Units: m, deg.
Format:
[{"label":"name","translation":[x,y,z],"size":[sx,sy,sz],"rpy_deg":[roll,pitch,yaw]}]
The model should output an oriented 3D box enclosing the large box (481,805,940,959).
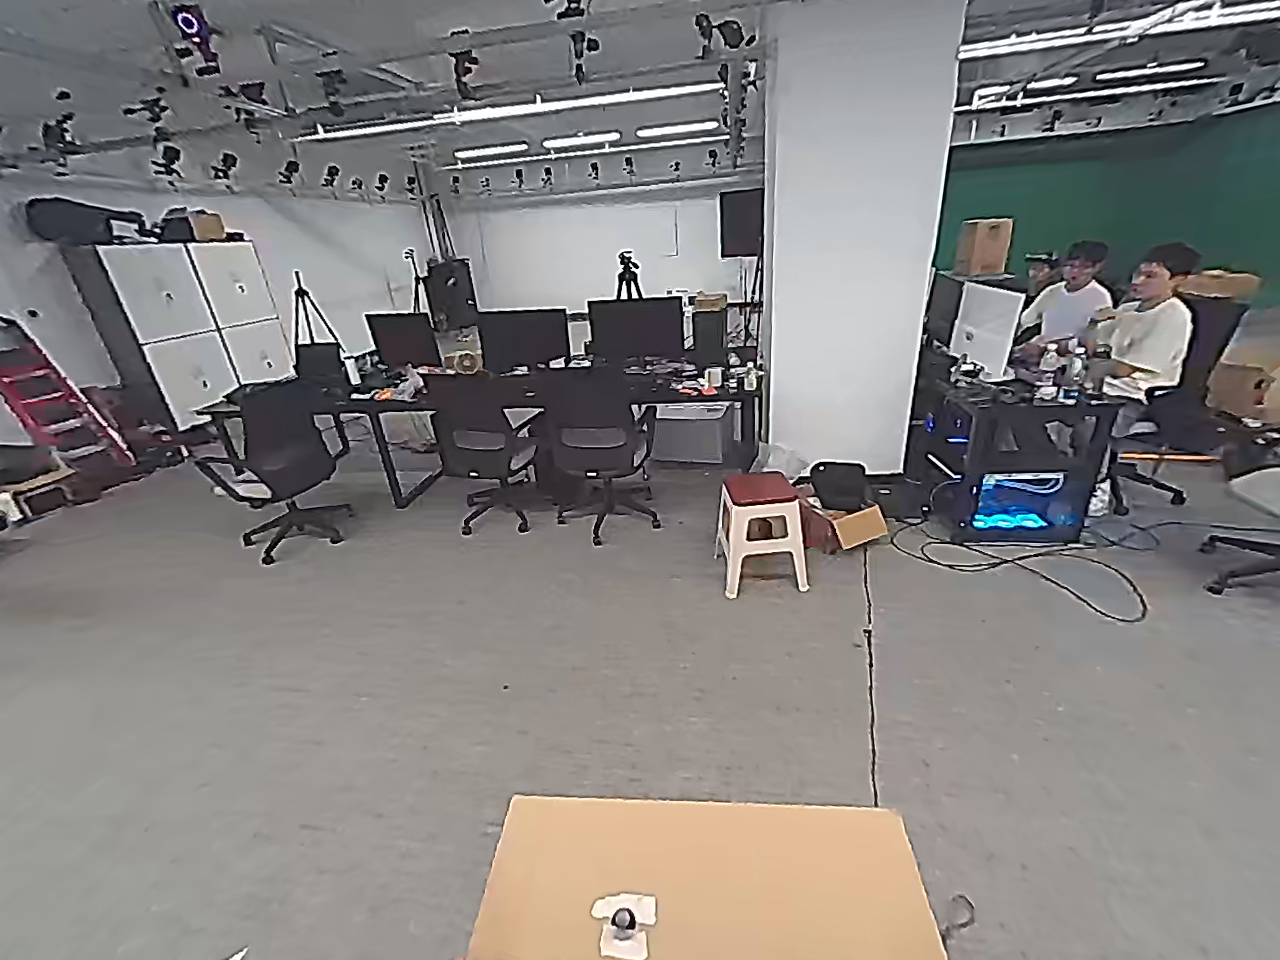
[{"label":"large box","translation":[0.069,0.554,0.521],"size":[0.408,0.320,0.320],"rpy_deg":[-3,29,6]}]
